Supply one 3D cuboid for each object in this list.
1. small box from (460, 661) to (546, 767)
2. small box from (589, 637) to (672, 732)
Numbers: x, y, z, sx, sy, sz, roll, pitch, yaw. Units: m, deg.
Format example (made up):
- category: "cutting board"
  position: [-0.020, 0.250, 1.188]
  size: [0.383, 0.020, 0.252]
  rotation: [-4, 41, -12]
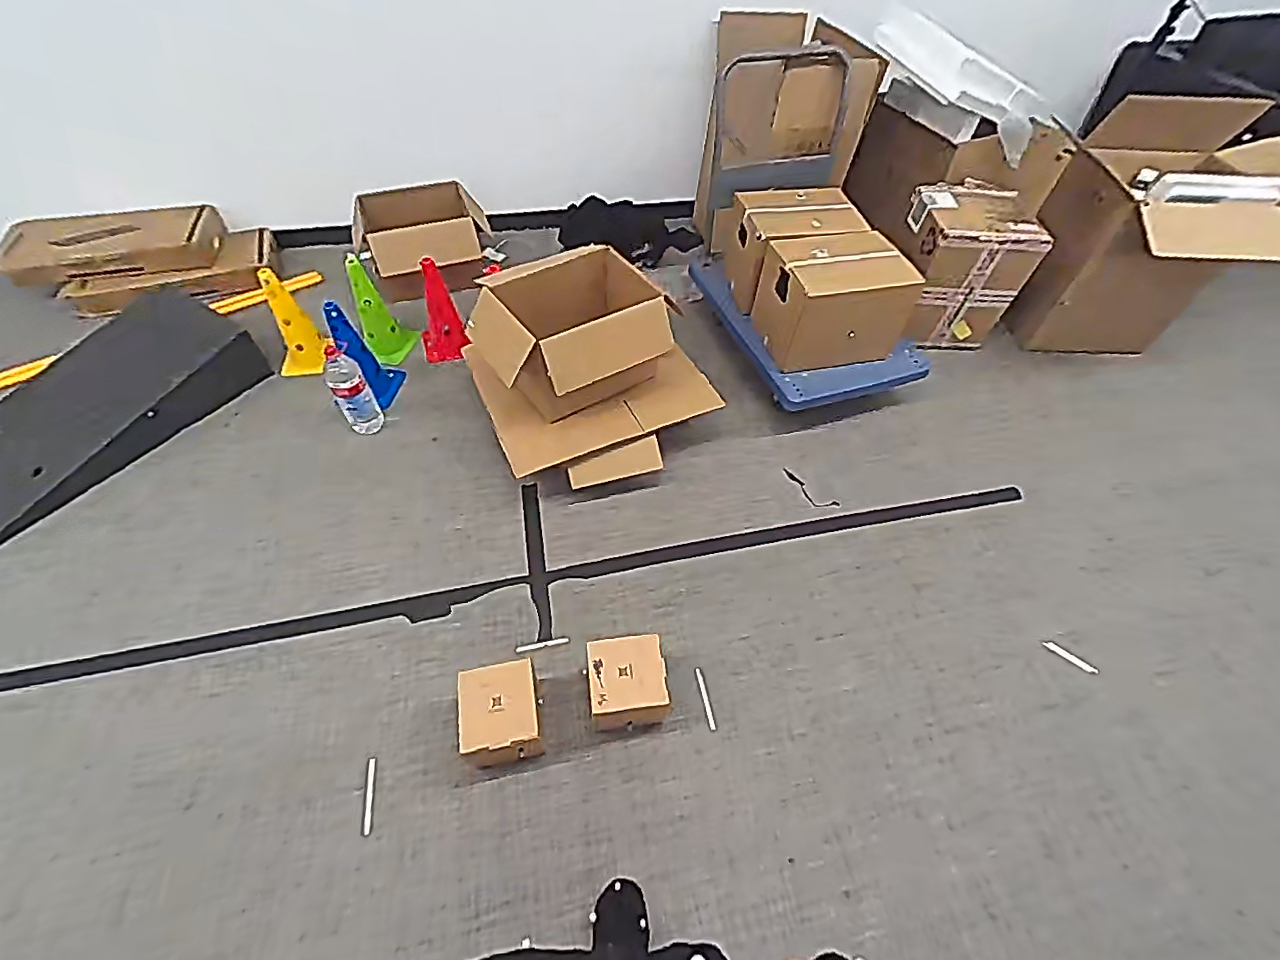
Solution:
- category: "small box"
  position: [-0.312, 0.543, 1.241]
  size: [0.168, 0.176, 0.179]
  rotation: [-8, 53, -11]
- category: "small box"
  position: [-0.030, 0.492, 1.295]
  size: [0.179, 0.176, 0.168]
  rotation: [-4, 54, -8]
